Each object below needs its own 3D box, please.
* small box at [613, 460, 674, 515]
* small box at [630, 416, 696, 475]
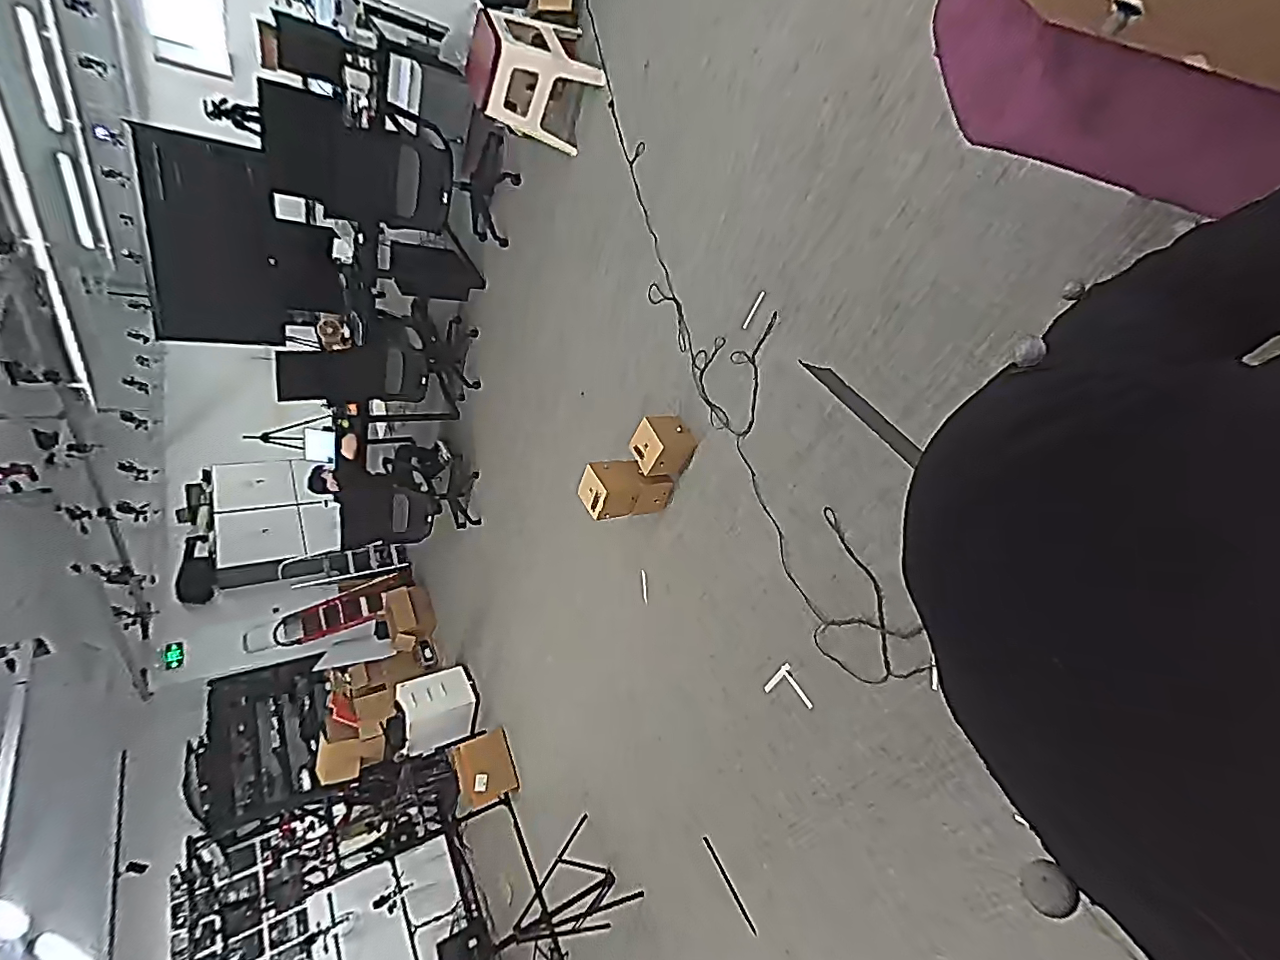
[{"bbox_3d":[0.016,0.027,2.302,0.179,0.176,0.168,49,134,37],"label":"small box"},{"bbox_3d":[0.093,-0.139,2.156,0.168,0.176,0.179,60,139,28],"label":"small box"}]
